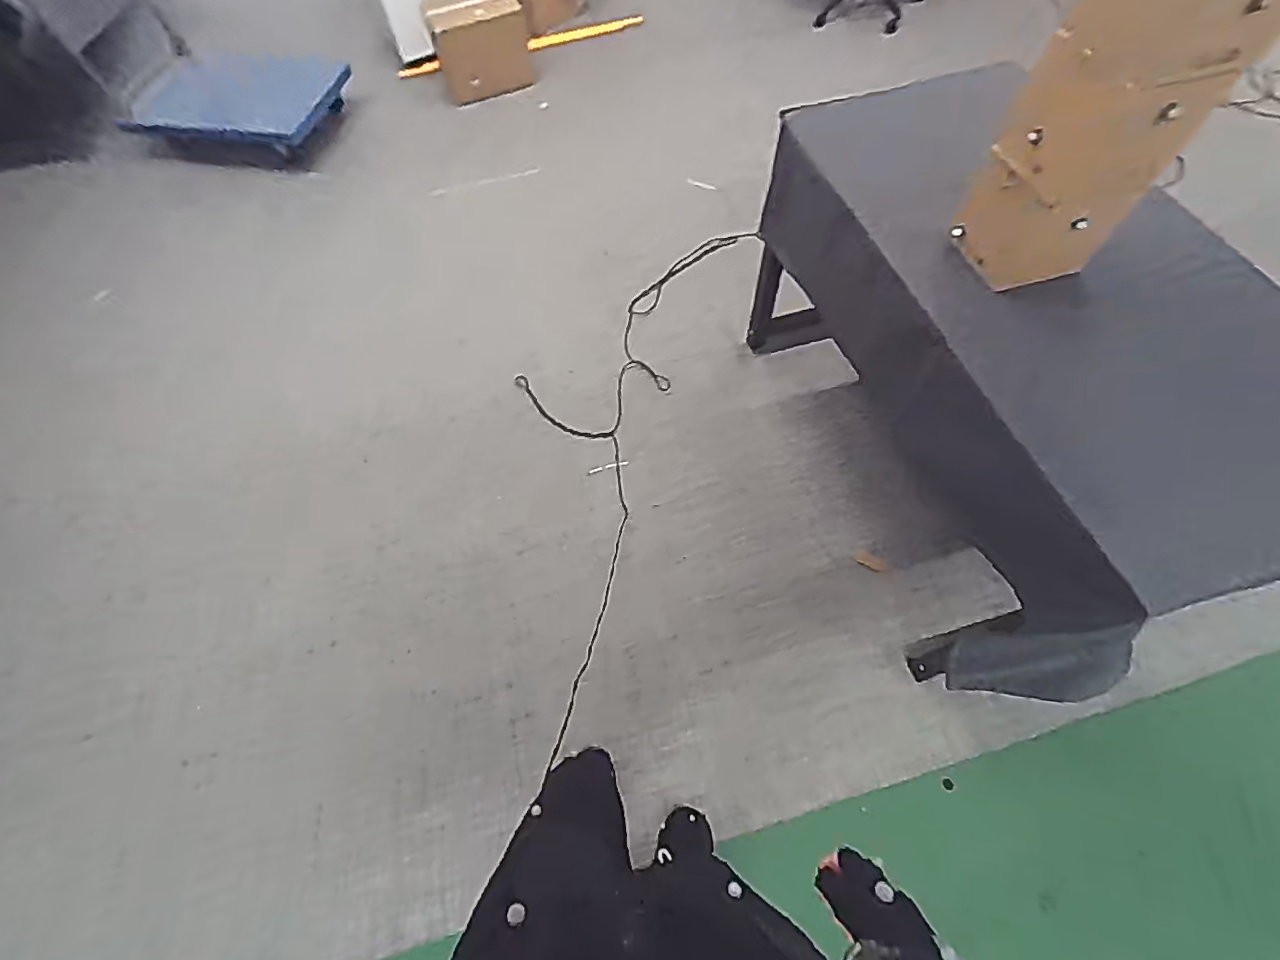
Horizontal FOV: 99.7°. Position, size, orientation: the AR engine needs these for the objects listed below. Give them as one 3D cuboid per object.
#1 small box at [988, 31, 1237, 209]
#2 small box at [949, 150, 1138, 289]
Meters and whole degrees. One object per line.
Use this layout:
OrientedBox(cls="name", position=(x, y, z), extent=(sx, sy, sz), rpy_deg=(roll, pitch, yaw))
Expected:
OrientedBox(cls="small box", position=(0.668, -0.534, 0.793), extent=(0.179, 0.176, 0.168), rpy_deg=(-15, 63, -6))
OrientedBox(cls="small box", position=(0.674, -0.459, 0.937), extent=(0.179, 0.176, 0.168), rpy_deg=(-15, 63, -7))
